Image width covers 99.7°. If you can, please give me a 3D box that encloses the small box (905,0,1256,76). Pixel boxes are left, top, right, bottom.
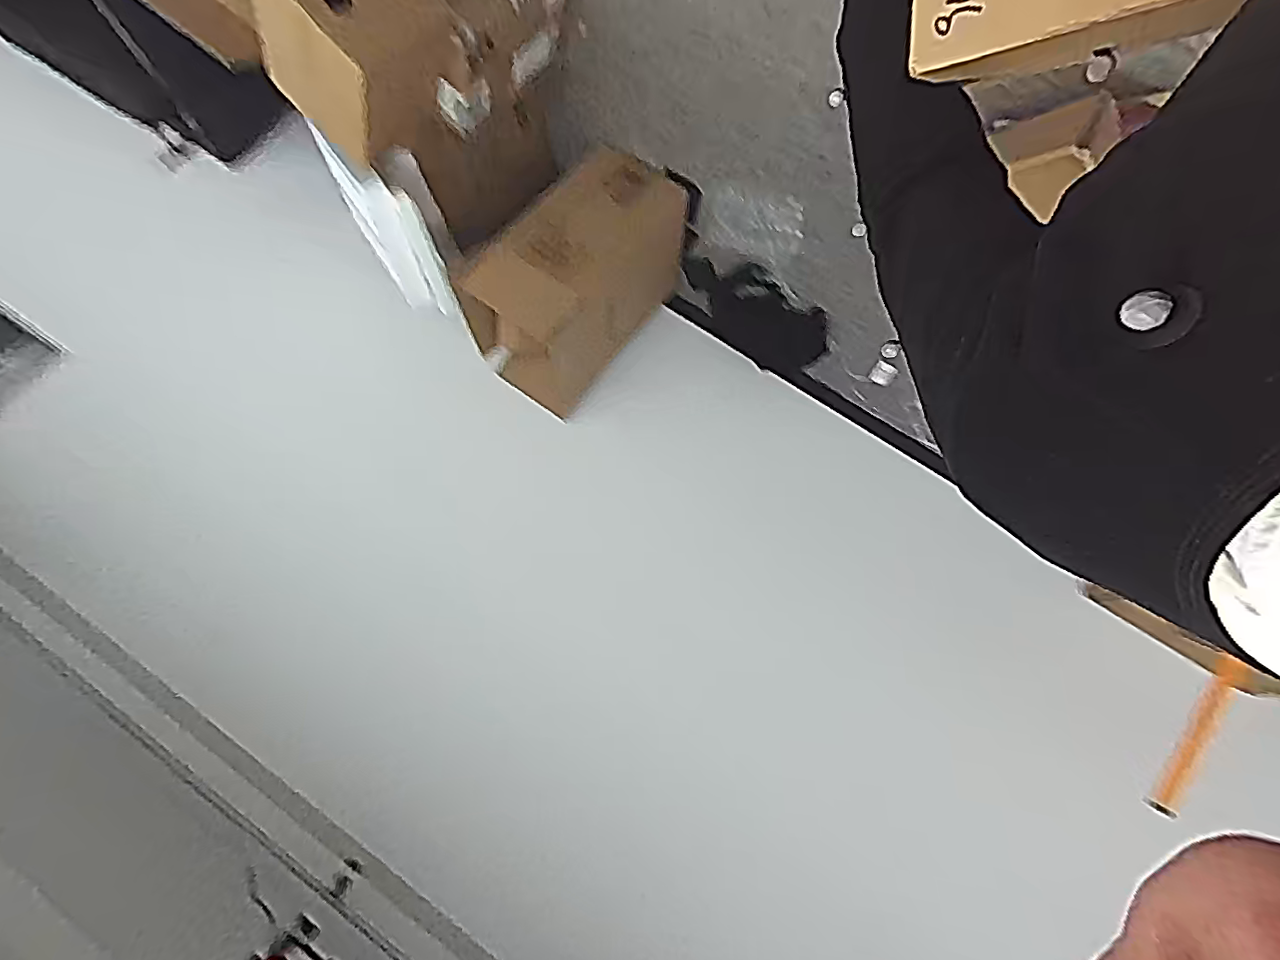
[{"bbox_3d":[0.278,-0.358,0.315,0.179,0.176,0.168,14,124,38],"label":"small box"}]
